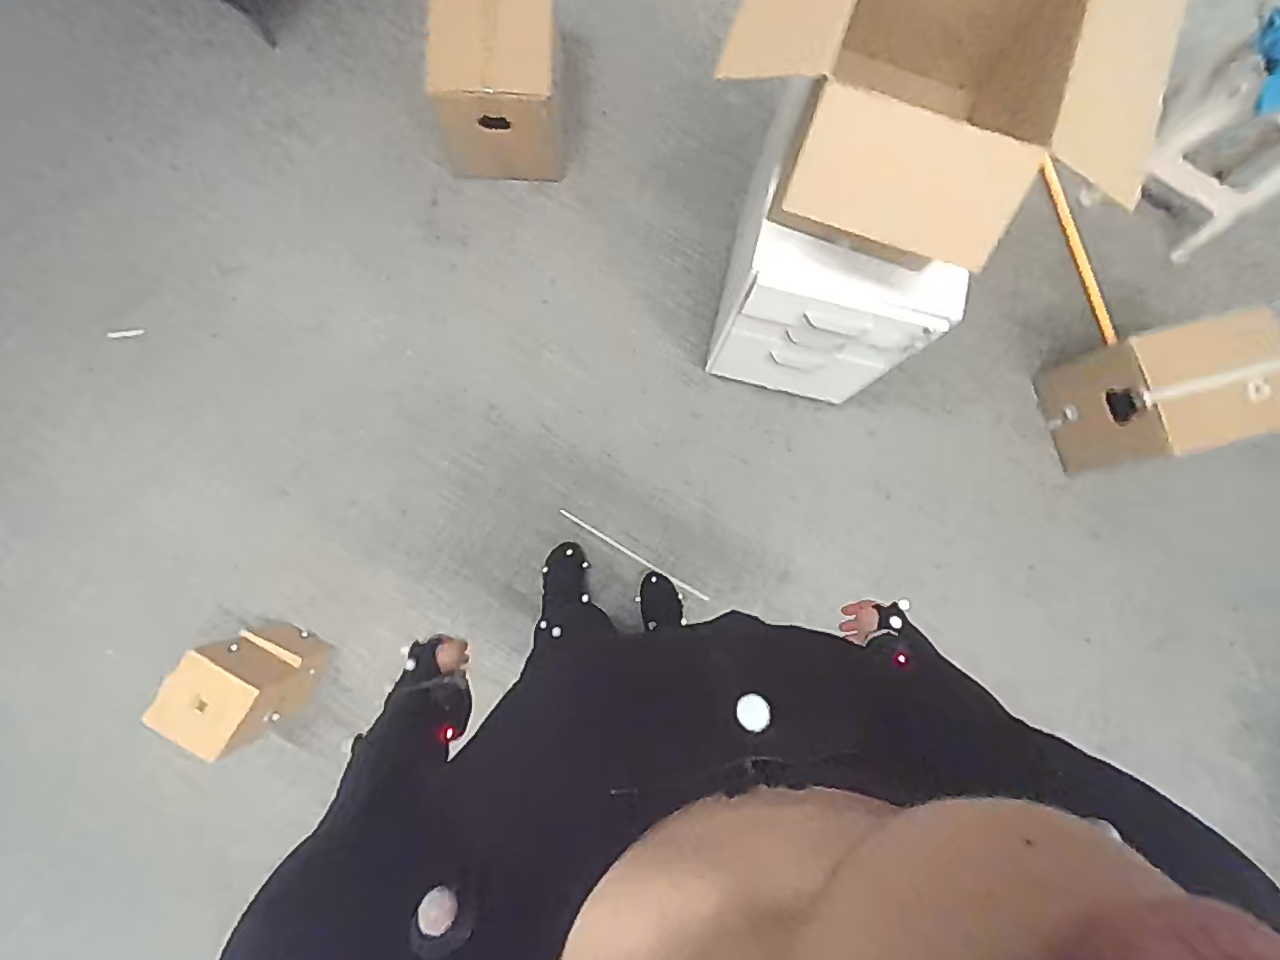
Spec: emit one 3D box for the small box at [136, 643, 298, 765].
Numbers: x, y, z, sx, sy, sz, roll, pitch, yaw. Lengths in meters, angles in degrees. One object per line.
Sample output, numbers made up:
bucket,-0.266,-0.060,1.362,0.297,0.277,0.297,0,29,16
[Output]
small box,-0.895,0.467,1.163,0.179,0.176,0.168,30,82,1
